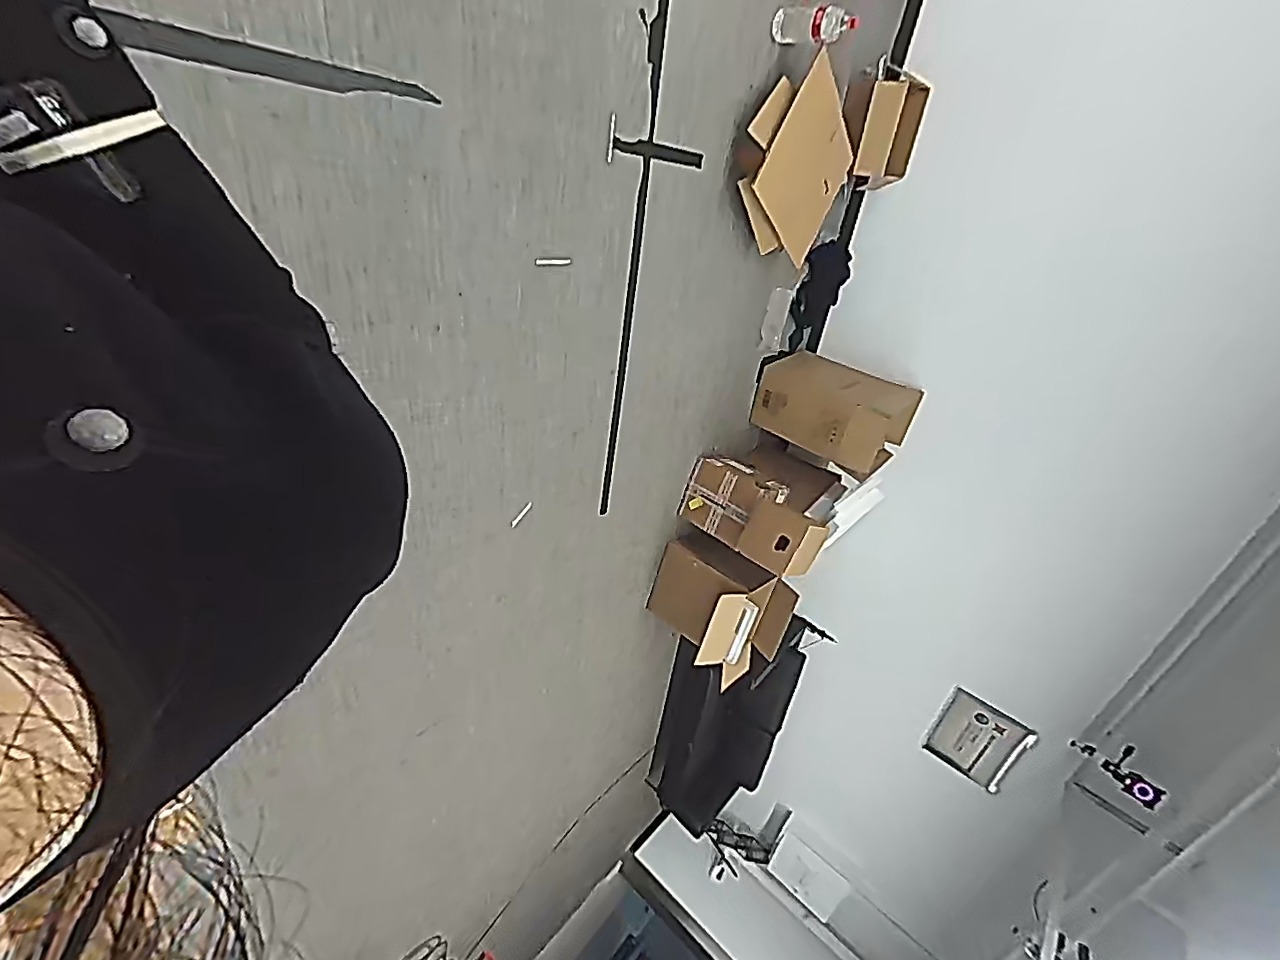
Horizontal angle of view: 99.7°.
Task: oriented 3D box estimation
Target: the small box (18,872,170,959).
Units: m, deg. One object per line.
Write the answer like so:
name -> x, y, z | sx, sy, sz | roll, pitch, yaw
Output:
small box -> -1.060, 0.926, 1.059 | 0.168, 0.176, 0.179 | -25, 132, -44

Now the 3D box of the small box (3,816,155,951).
small box -> -1.185, 0.868, 1.145 | 0.179, 0.176, 0.168 | -25, 132, -42
